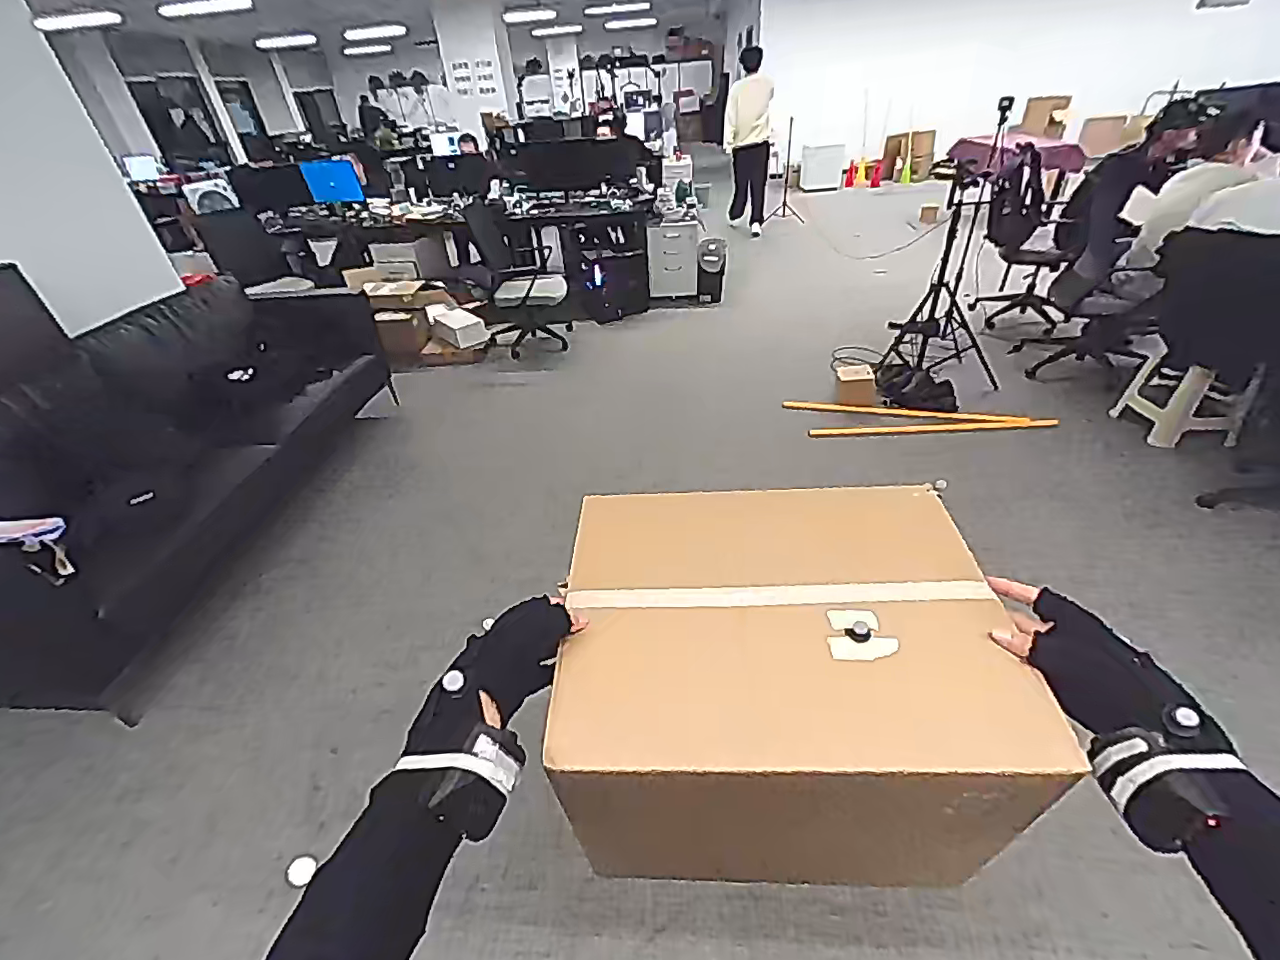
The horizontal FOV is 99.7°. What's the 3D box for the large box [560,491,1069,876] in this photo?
[{"bbox_3d":[0.142,0.232,0.628,0.408,0.320,0.320,-2,41,4],"label":"large box"}]
